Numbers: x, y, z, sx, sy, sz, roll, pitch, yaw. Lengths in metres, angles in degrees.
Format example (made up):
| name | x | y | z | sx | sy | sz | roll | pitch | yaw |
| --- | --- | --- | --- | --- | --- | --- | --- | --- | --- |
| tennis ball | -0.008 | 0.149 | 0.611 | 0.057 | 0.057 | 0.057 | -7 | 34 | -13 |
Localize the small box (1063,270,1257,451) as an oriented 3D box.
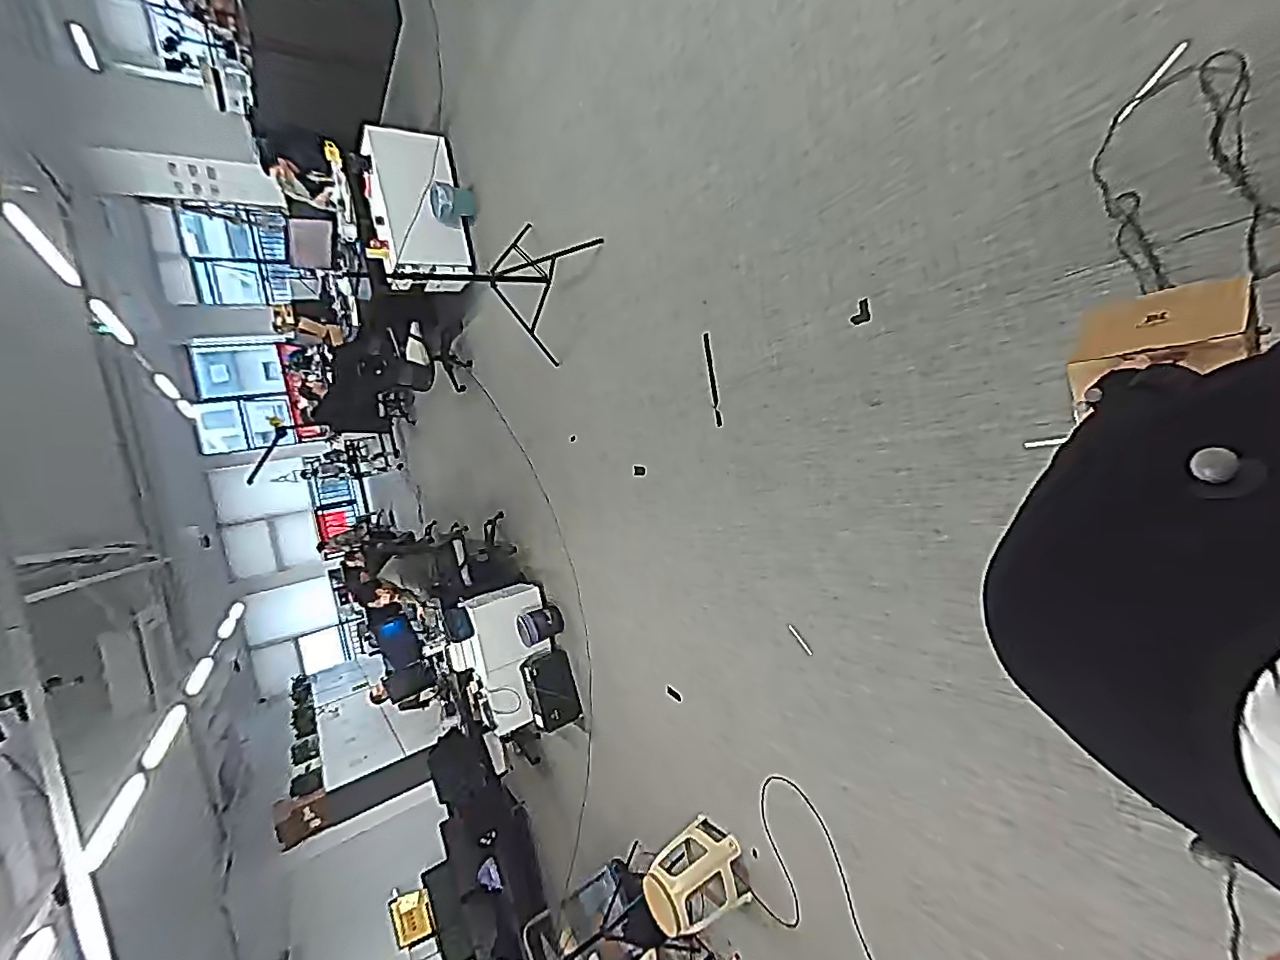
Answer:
| name | x | y | z | sx | sy | sz | roll | pitch | yaw |
| --- | --- | --- | --- | --- | --- | --- | --- | --- | --- |
| small box | 0.718 | -0.151 | 0.744 | 0.168 | 0.179 | 0.176 | -2 | 127 | 52 |
